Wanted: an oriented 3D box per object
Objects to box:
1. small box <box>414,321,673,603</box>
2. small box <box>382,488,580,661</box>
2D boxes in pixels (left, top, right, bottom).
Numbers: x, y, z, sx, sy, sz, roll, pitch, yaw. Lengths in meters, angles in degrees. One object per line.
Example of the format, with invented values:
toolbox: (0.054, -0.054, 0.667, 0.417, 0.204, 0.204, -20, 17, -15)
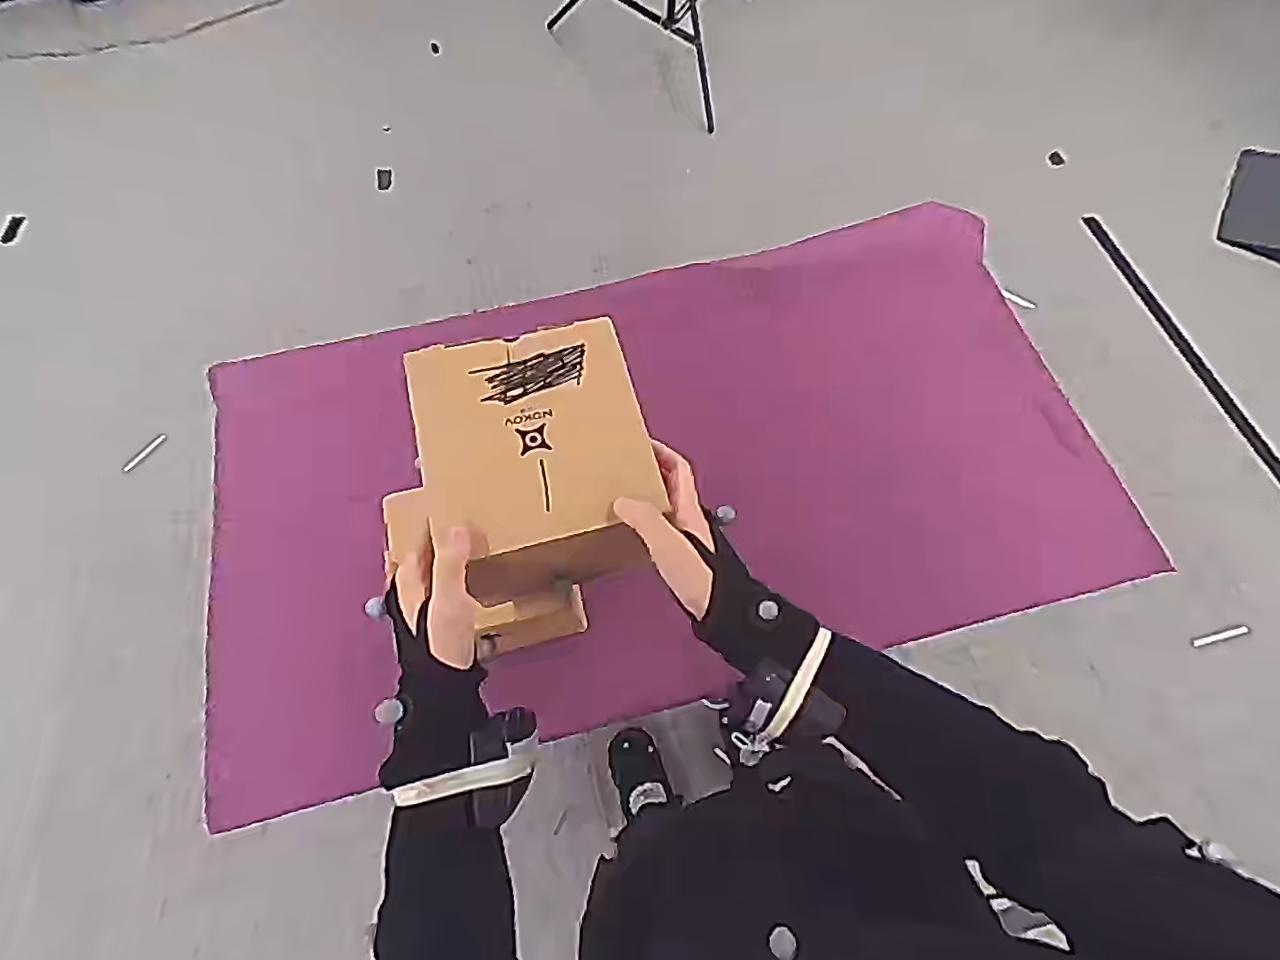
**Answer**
small box: (-0.082, -0.007, 0.474, 0.168, 0.176, 0.179, -13, 70, -10)
small box: (-0.172, 0.104, 0.629, 0.179, 0.176, 0.168, -14, 68, -4)
